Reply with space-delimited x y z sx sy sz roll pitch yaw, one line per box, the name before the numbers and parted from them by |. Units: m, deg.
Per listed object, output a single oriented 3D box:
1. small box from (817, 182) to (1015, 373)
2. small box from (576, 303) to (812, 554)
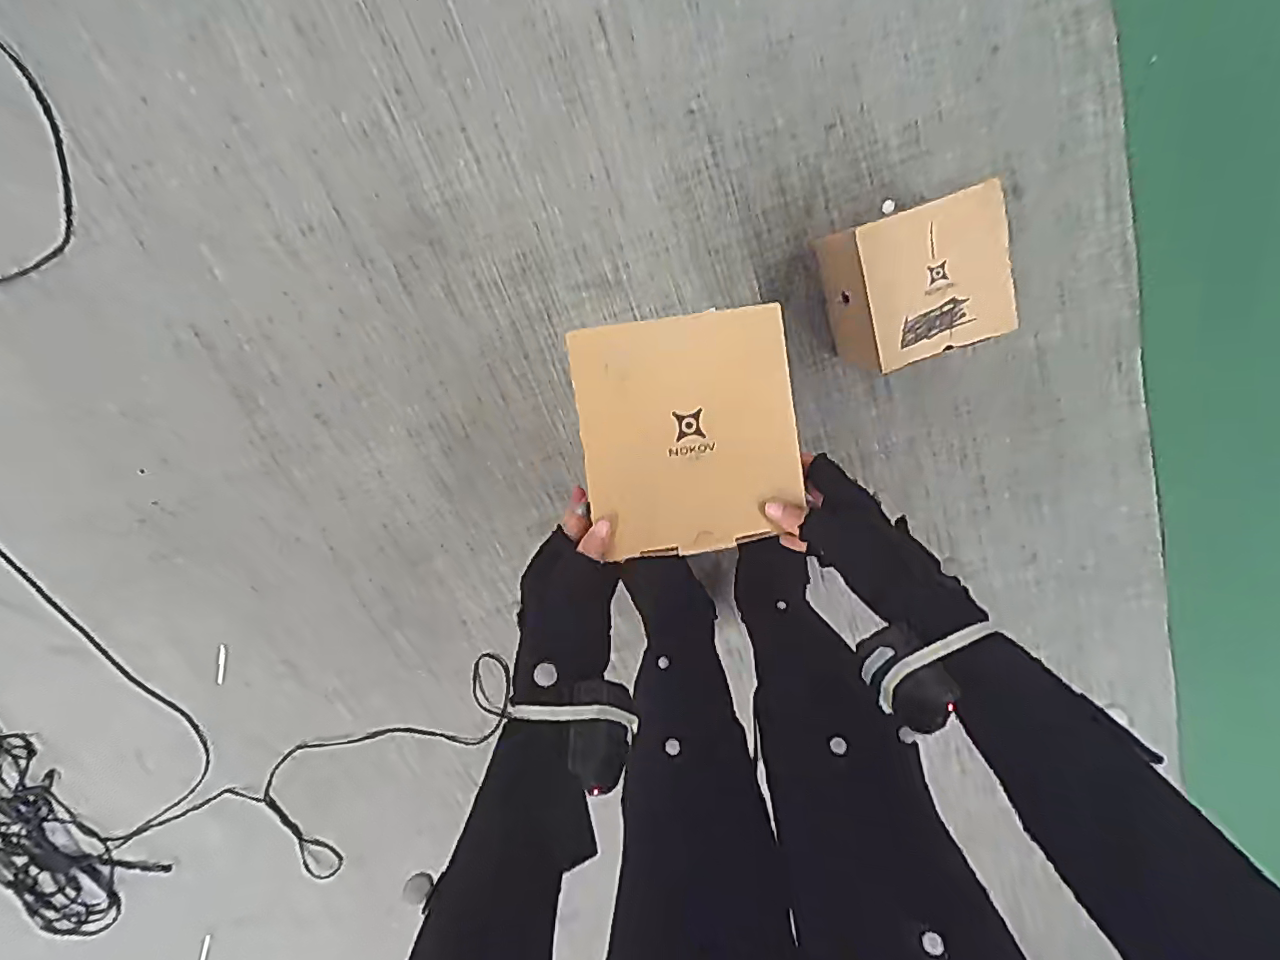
small box | 0.350 -0.258 0.710 0.168 0.176 0.179 -17 107 7
small box | 0.035 -0.041 0.489 0.168 0.176 0.179 -9 92 -5
